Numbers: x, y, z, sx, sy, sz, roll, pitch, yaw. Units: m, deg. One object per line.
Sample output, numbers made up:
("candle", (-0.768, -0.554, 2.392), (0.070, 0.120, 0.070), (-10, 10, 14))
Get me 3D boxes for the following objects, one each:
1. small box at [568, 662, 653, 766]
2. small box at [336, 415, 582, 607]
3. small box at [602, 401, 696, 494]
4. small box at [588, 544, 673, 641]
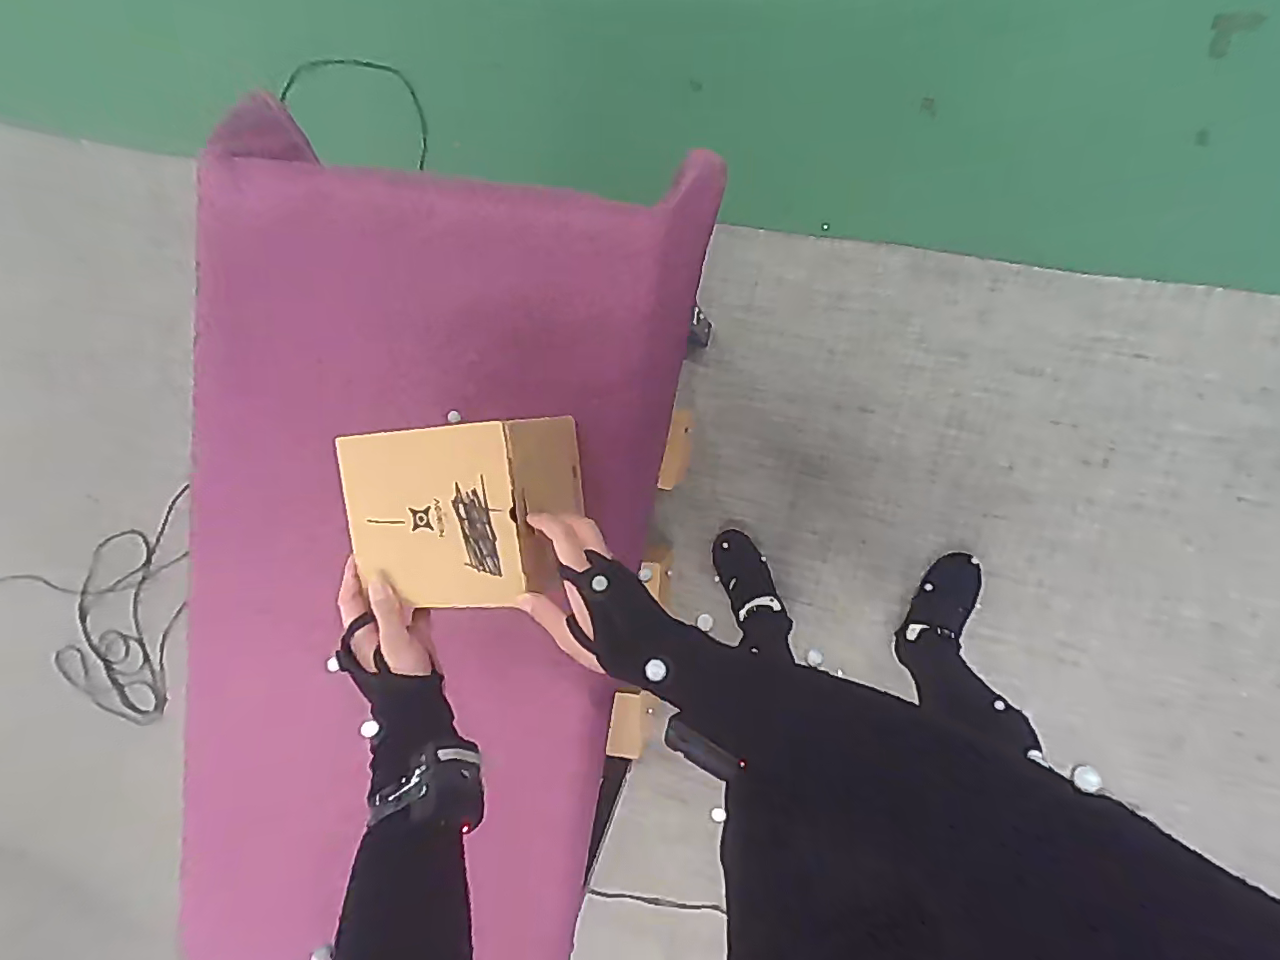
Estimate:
("small box", (-0.067, 0.571, 1.342), (0.179, 0.176, 0.168), (4, 97, 12))
("small box", (-0.166, 0.022, 0.552), (0.179, 0.176, 0.168), (-4, 96, 14))
("small box", (0.028, -0.079, 1.248), (0.168, 0.176, 0.179), (13, 98, 11))
("small box", (-0.018, 0.260, 1.296), (0.168, 0.176, 0.179), (5, 98, 13))
